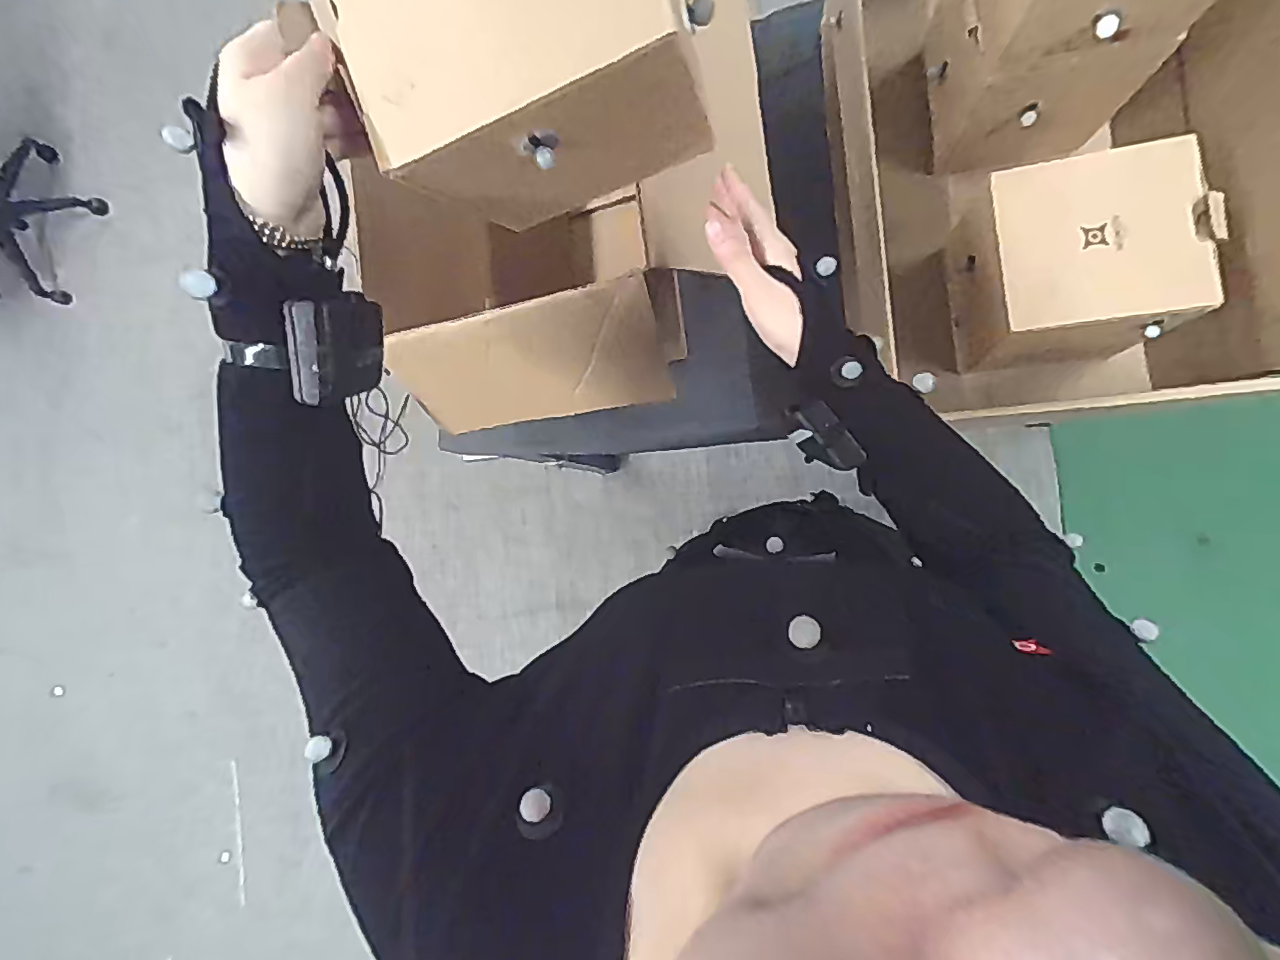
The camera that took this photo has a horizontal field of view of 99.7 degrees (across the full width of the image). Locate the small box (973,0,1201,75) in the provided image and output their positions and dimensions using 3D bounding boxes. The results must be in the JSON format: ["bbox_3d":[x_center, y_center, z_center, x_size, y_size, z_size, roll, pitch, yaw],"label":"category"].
[{"bbox_3d":[0.397,-0.495,0.451,0.168,0.176,0.179,-5,89,12],"label":"small box"}]

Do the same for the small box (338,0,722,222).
[{"bbox_3d":[-0.058,-0.282,0.337,0.179,0.176,0.168,-12,102,18],"label":"small box"}]
